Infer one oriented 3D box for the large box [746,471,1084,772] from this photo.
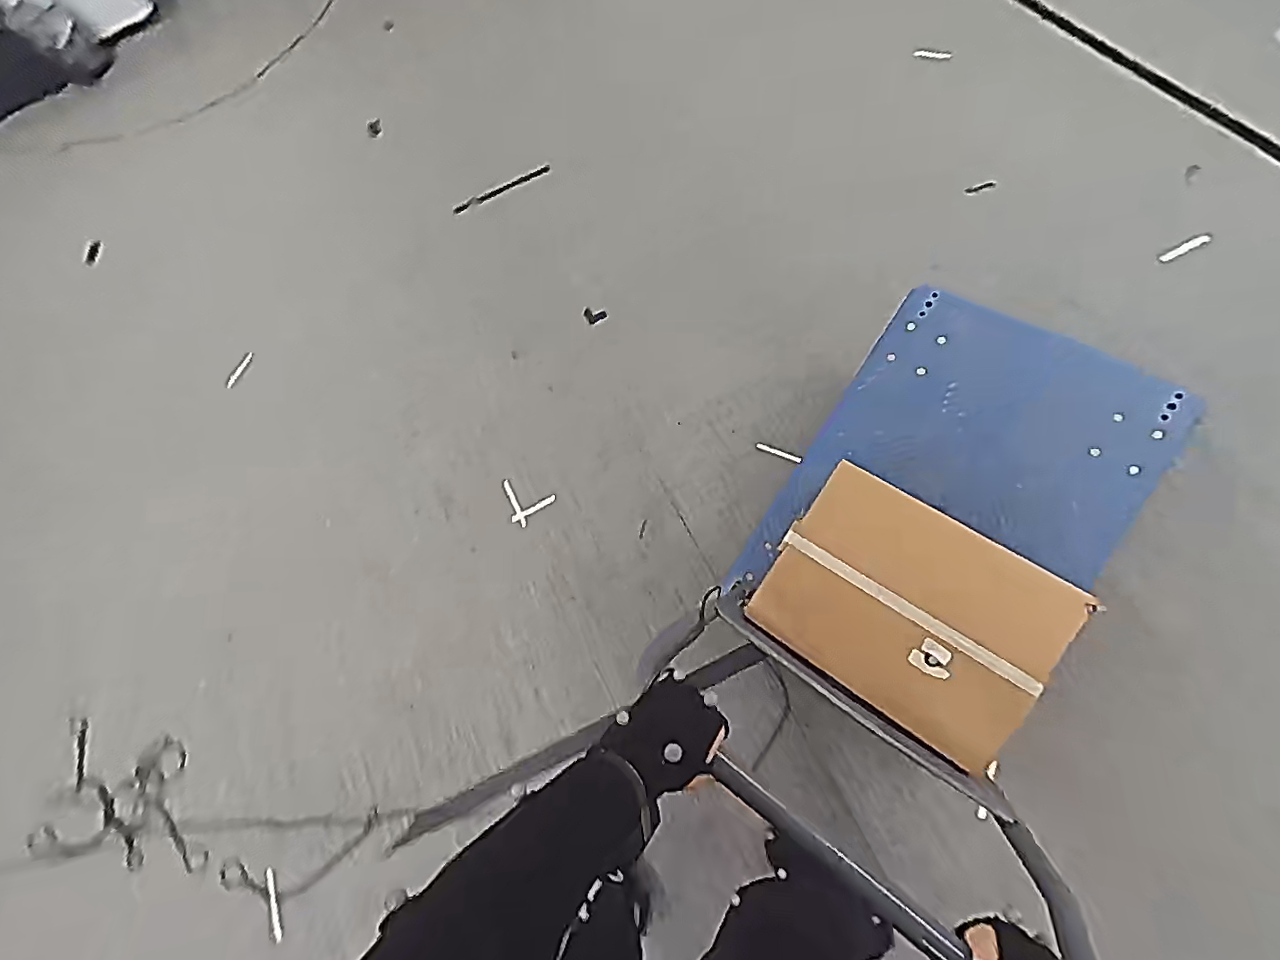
[{"bbox_3d":[0.455,0.230,0.997,0.408,0.320,0.320,33,92,19],"label":"large box"}]
